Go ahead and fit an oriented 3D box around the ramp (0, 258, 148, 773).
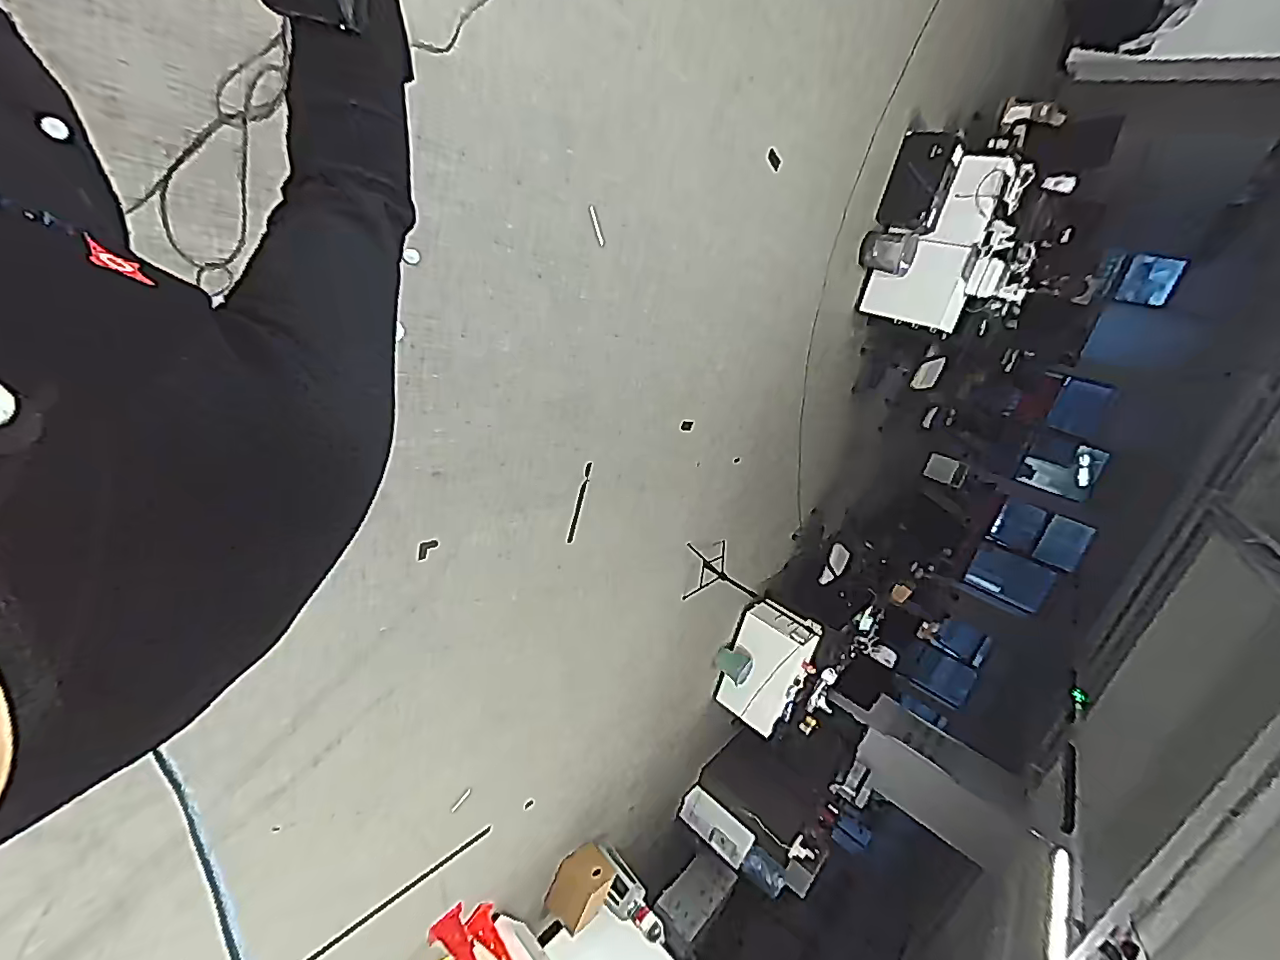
[{"bbox_3d":[-1.257,0.110,0.957,0.509,0.206,0.991,-12,123,-48],"label":"ramp"}]
